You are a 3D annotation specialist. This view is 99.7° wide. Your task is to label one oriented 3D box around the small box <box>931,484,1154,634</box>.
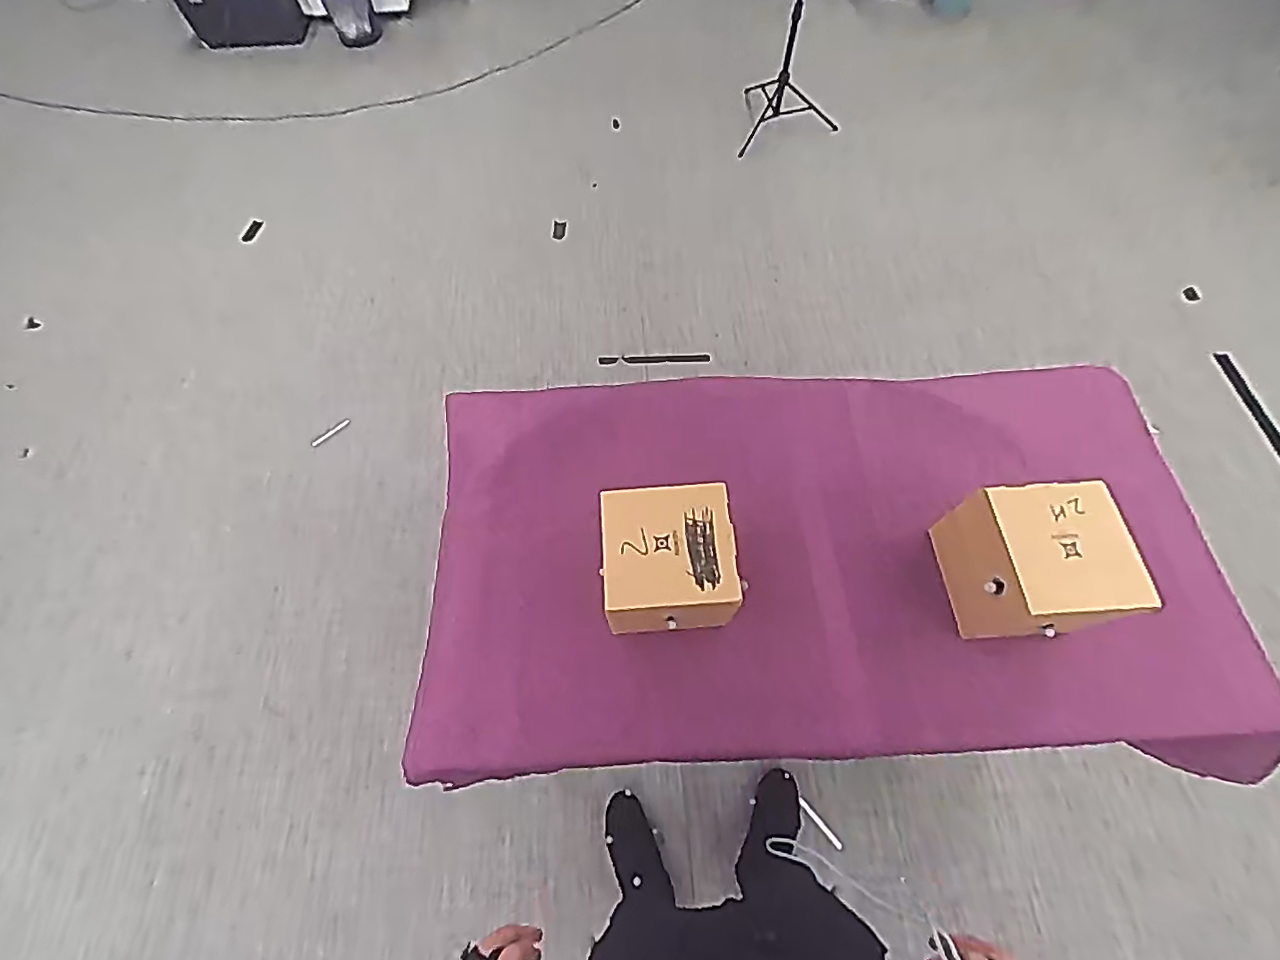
[{"bbox_3d":[0.553,0.121,0.775,0.168,0.176,0.179,-3,64,-1],"label":"small box"}]
